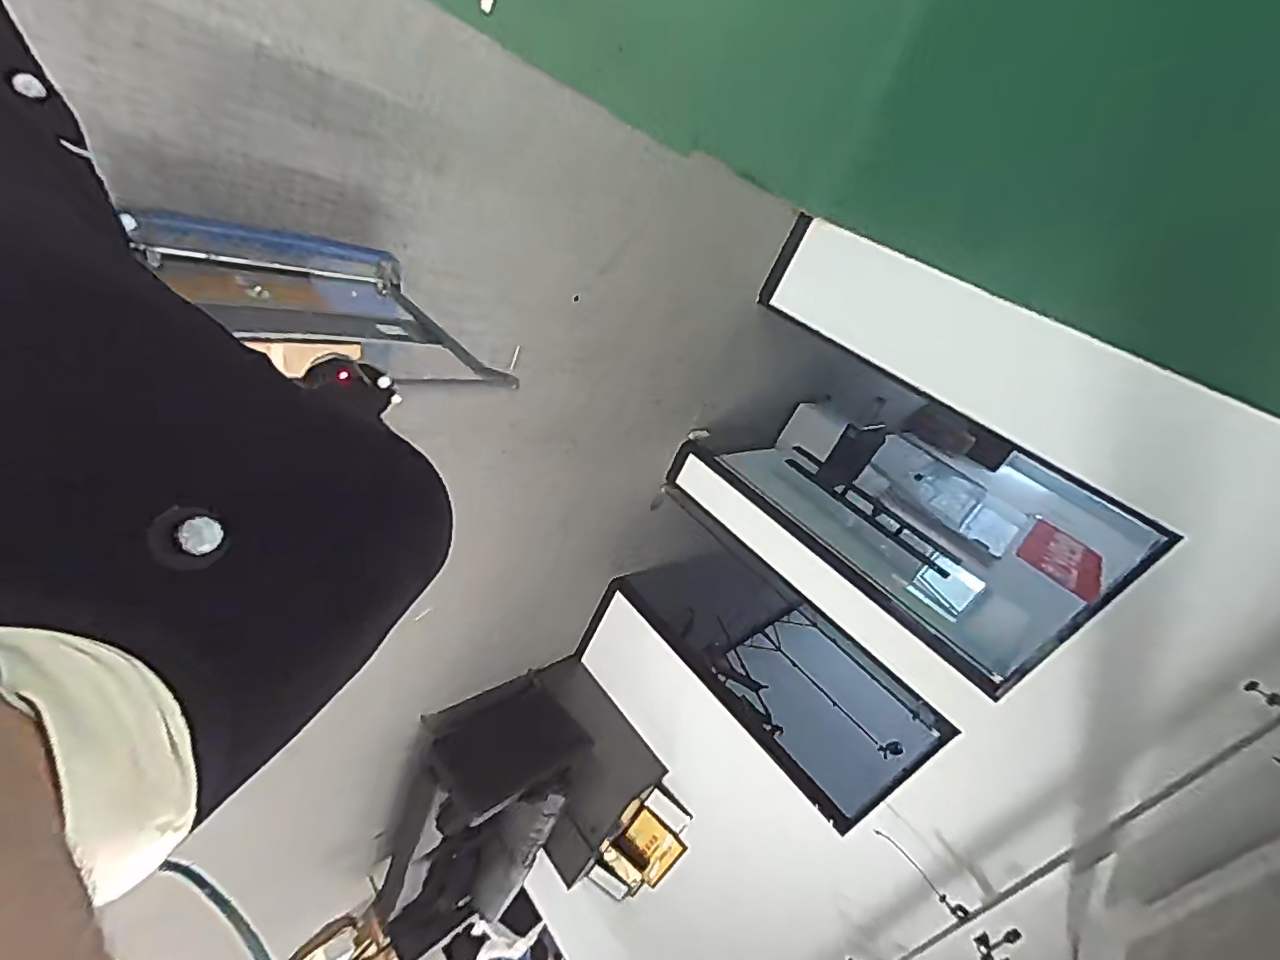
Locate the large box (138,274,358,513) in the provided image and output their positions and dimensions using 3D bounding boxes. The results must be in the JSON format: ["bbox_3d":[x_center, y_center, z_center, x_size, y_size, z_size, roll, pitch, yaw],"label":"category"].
[{"bbox_3d":[-0.868,-0.198,1.213,0.320,0.320,0.408,-12,136,-46],"label":"large box"}]
